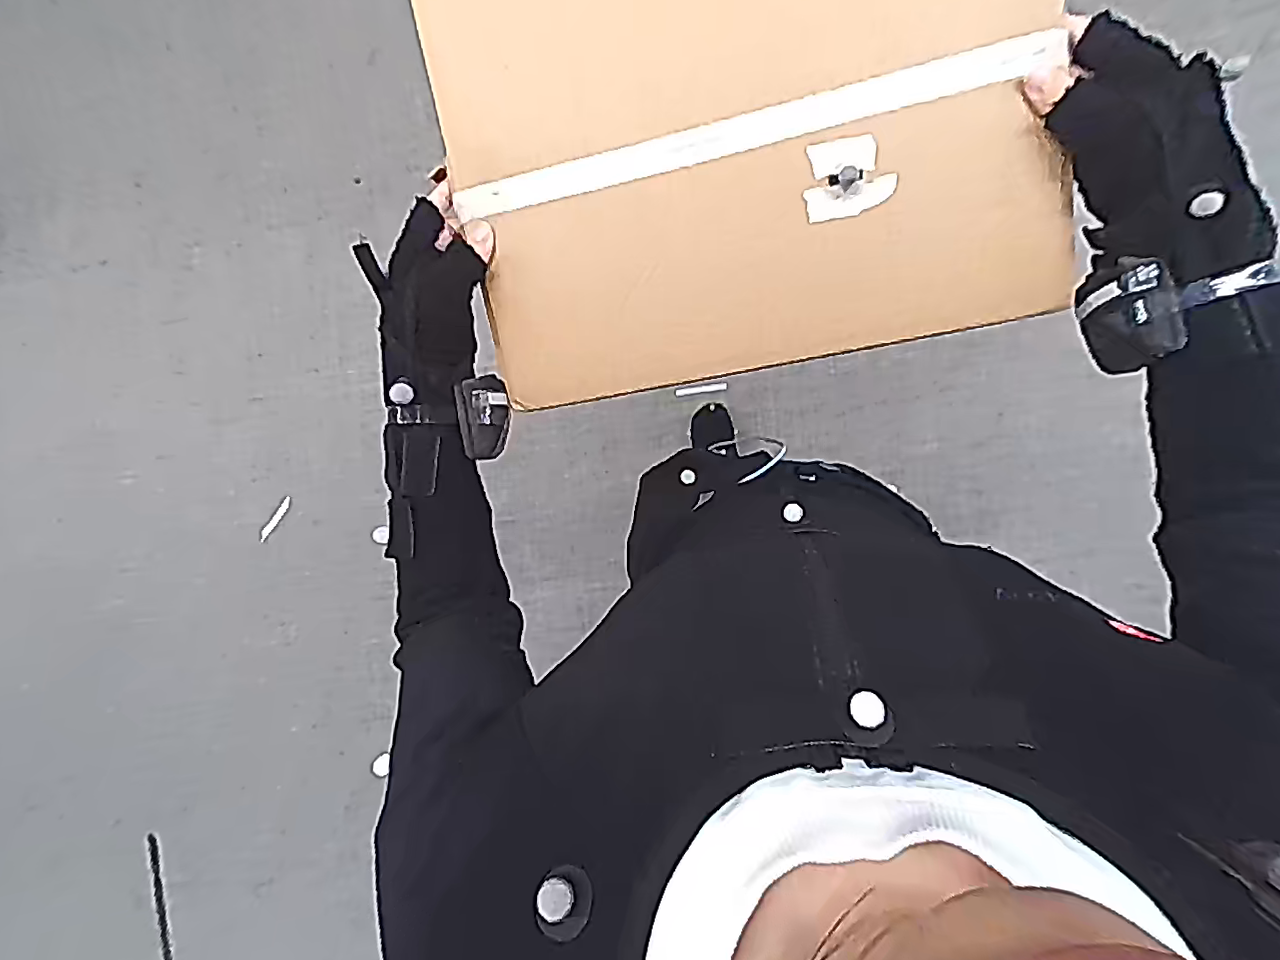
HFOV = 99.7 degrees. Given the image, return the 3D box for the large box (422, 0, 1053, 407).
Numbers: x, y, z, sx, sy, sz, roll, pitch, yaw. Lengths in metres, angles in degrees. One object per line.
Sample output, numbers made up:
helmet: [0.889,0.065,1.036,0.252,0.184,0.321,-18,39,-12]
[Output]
large box: [0.082,-0.273,0.525,0.408,0.320,0.320,-10,102,9]
